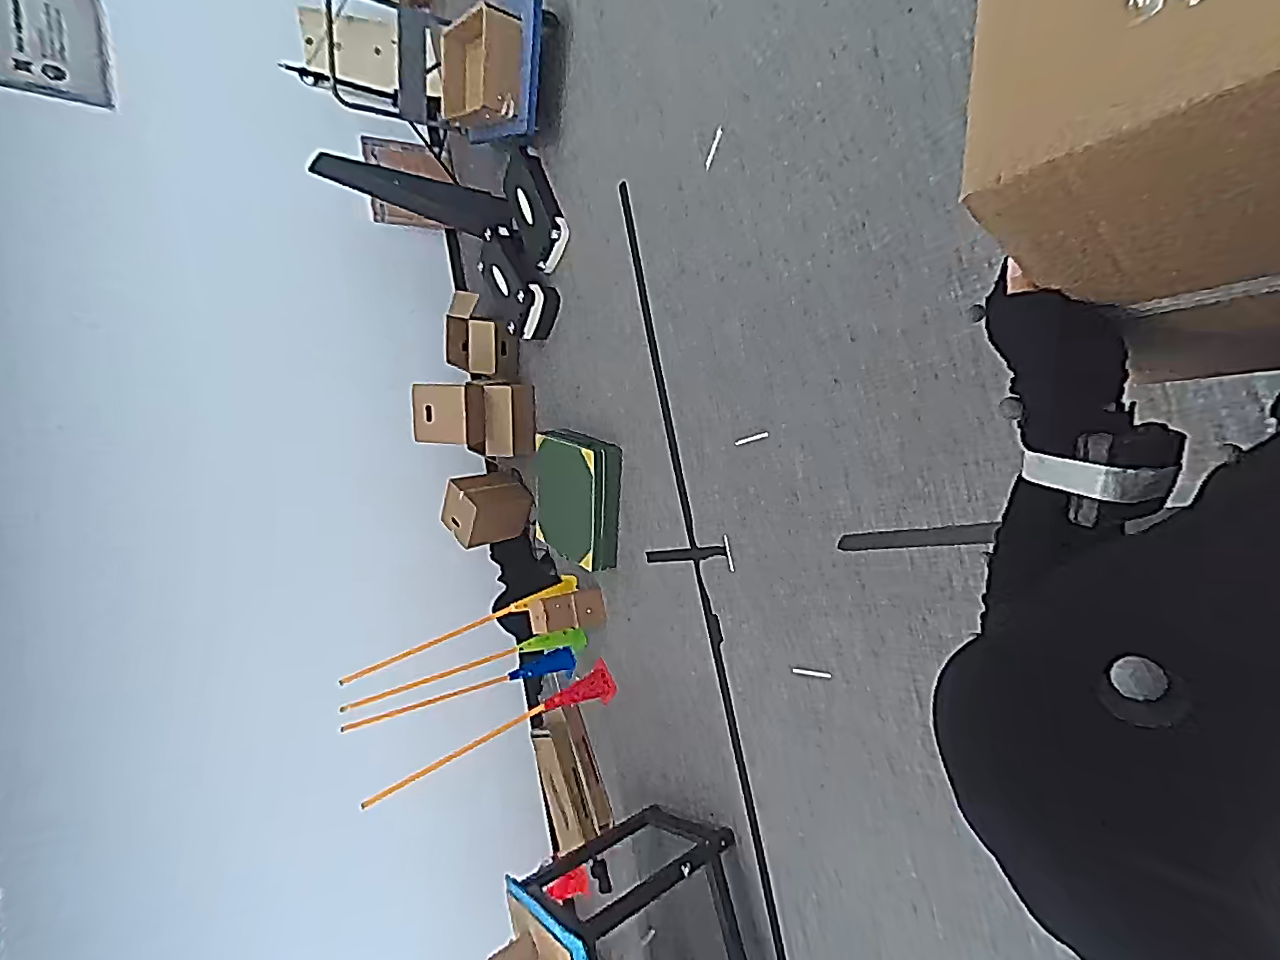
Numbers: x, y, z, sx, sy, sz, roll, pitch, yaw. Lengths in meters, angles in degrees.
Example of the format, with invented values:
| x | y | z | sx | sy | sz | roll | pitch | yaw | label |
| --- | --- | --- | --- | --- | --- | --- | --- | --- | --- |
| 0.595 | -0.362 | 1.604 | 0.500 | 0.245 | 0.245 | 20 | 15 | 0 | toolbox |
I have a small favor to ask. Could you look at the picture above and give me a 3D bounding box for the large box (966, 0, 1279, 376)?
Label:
| x | y | z | sx | sy | sz | roll | pitch | yaw | label |
| --- | --- | --- | --- | --- | --- | --- | --- | --- | --- |
| 0.409 | -0.260 | 0.200 | 0.408 | 0.320 | 0.320 | 0 | 80 | 54 | large box |
